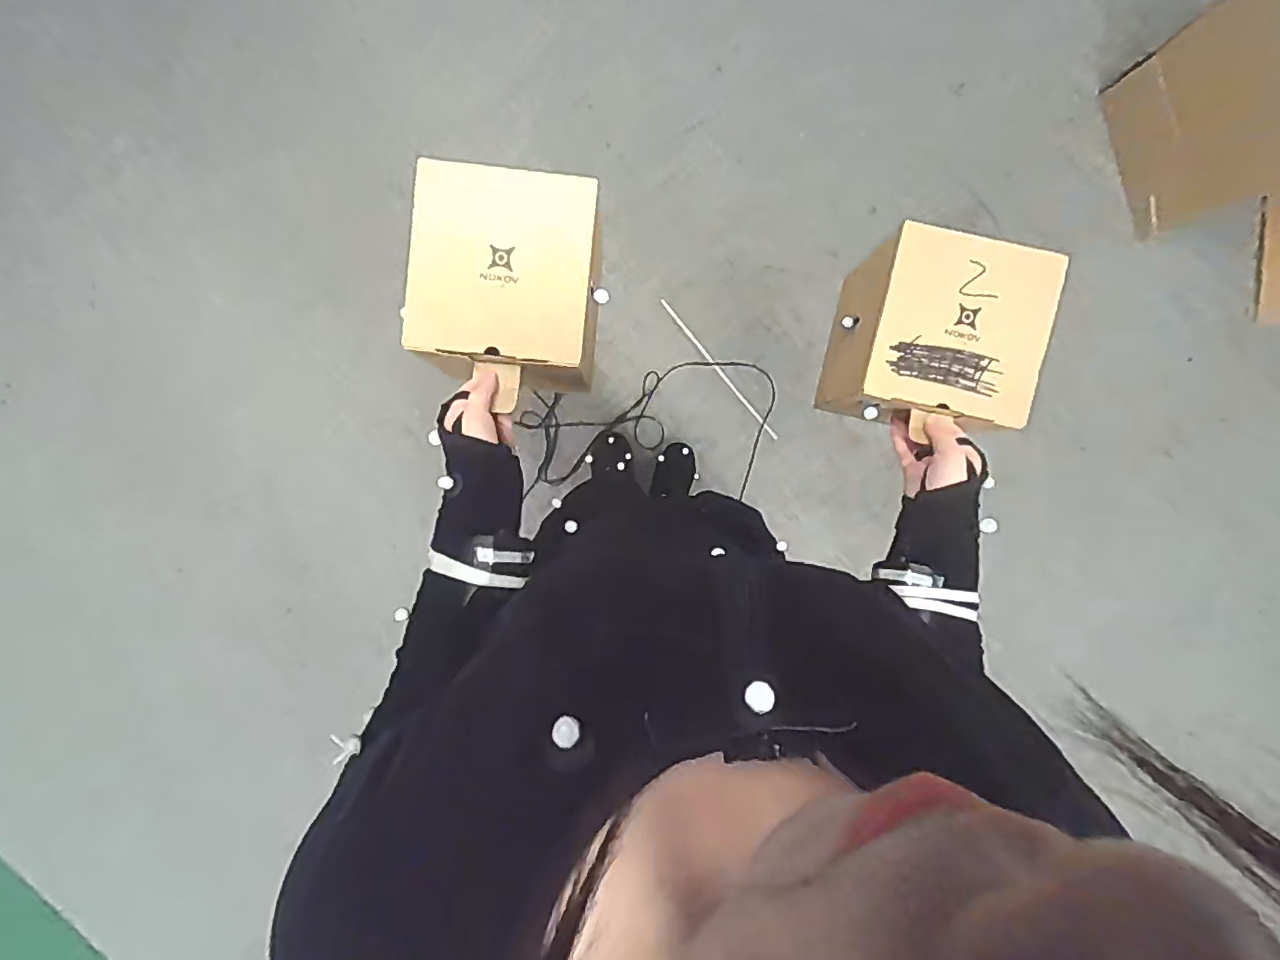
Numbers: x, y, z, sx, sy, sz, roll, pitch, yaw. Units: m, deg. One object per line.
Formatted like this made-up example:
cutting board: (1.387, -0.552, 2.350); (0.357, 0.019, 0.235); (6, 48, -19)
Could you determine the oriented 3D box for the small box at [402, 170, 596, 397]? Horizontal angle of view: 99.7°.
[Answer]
small box: (-0.136, -0.195, 0.585); (0.168, 0.176, 0.179); (5, 91, -3)
